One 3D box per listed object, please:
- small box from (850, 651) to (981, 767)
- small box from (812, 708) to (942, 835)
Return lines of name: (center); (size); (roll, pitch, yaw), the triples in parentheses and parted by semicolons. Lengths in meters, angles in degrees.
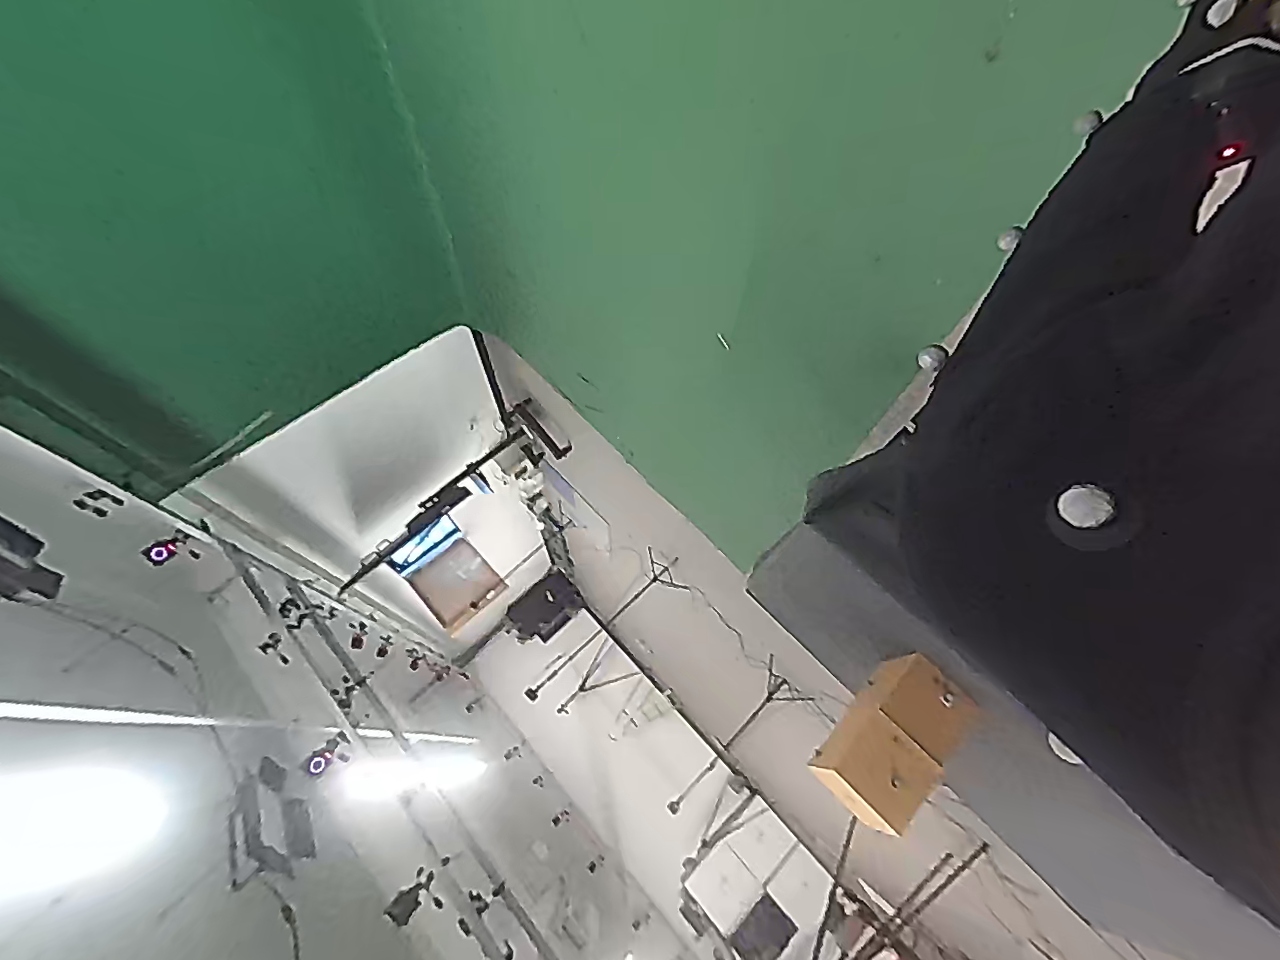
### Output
small box: (0.620, 0.513, 1.220); (0.168, 0.176, 0.179); (43, 159, 16)
small box: (0.506, 0.612, 1.158); (0.168, 0.176, 0.179); (43, 161, 17)
